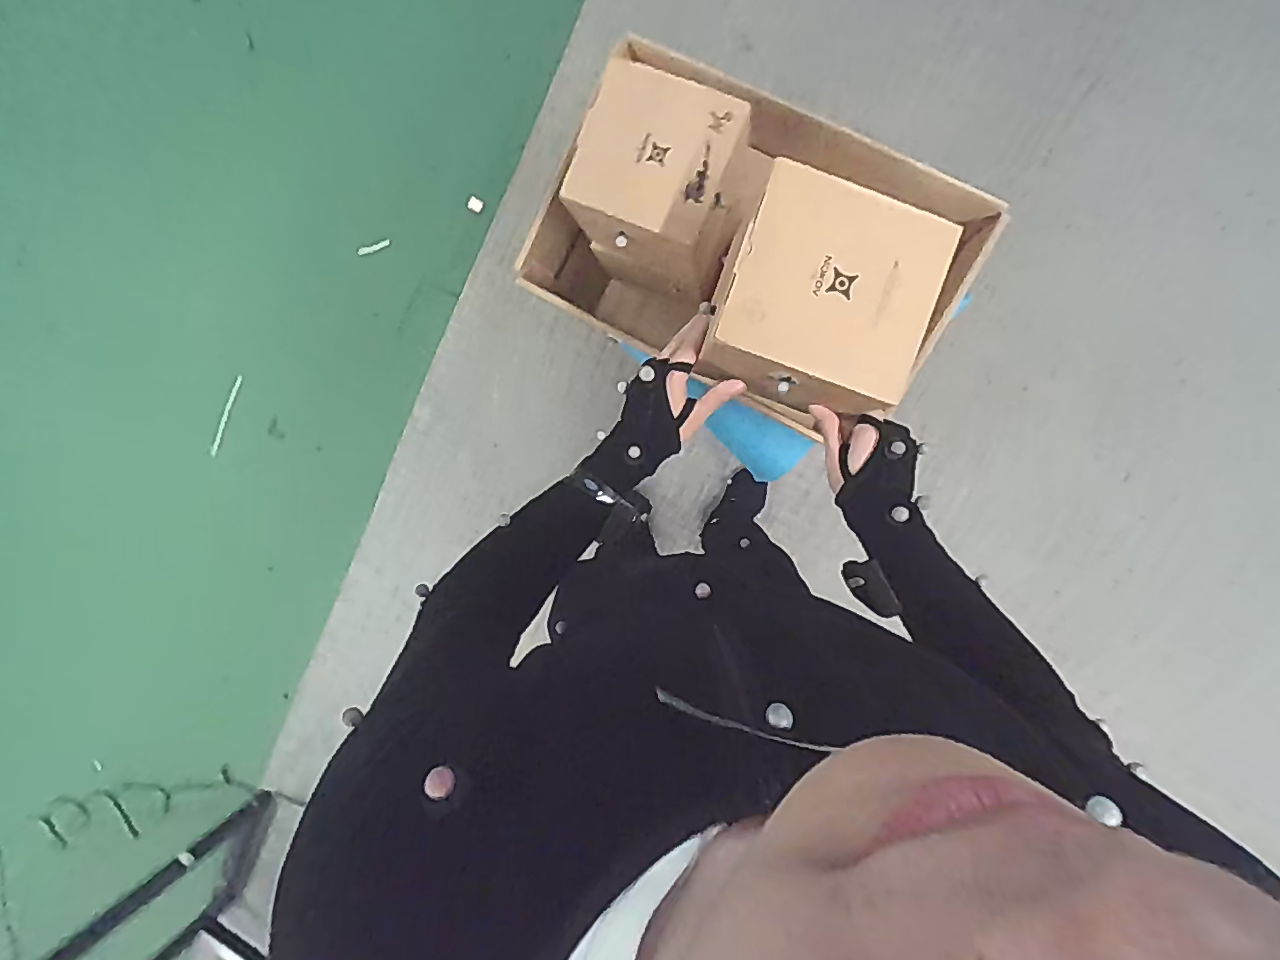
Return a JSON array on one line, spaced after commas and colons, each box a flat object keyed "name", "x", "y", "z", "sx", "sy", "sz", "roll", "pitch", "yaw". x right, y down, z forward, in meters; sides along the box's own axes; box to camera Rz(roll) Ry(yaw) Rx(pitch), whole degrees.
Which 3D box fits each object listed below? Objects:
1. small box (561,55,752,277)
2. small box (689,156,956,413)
[{"name": "small box", "x": 0.028, "y": -0.384, "z": 0.695, "sx": 0.179, "sy": 0.176, "sz": 0.168, "roll": 24, "pitch": 99, "yaw": 7}, {"name": "small box", "x": 0.160, "y": -0.172, "z": 0.539, "sx": 0.179, "sy": 0.176, "sz": 0.168, "roll": 20, "pitch": 91, "yaw": -3}]
